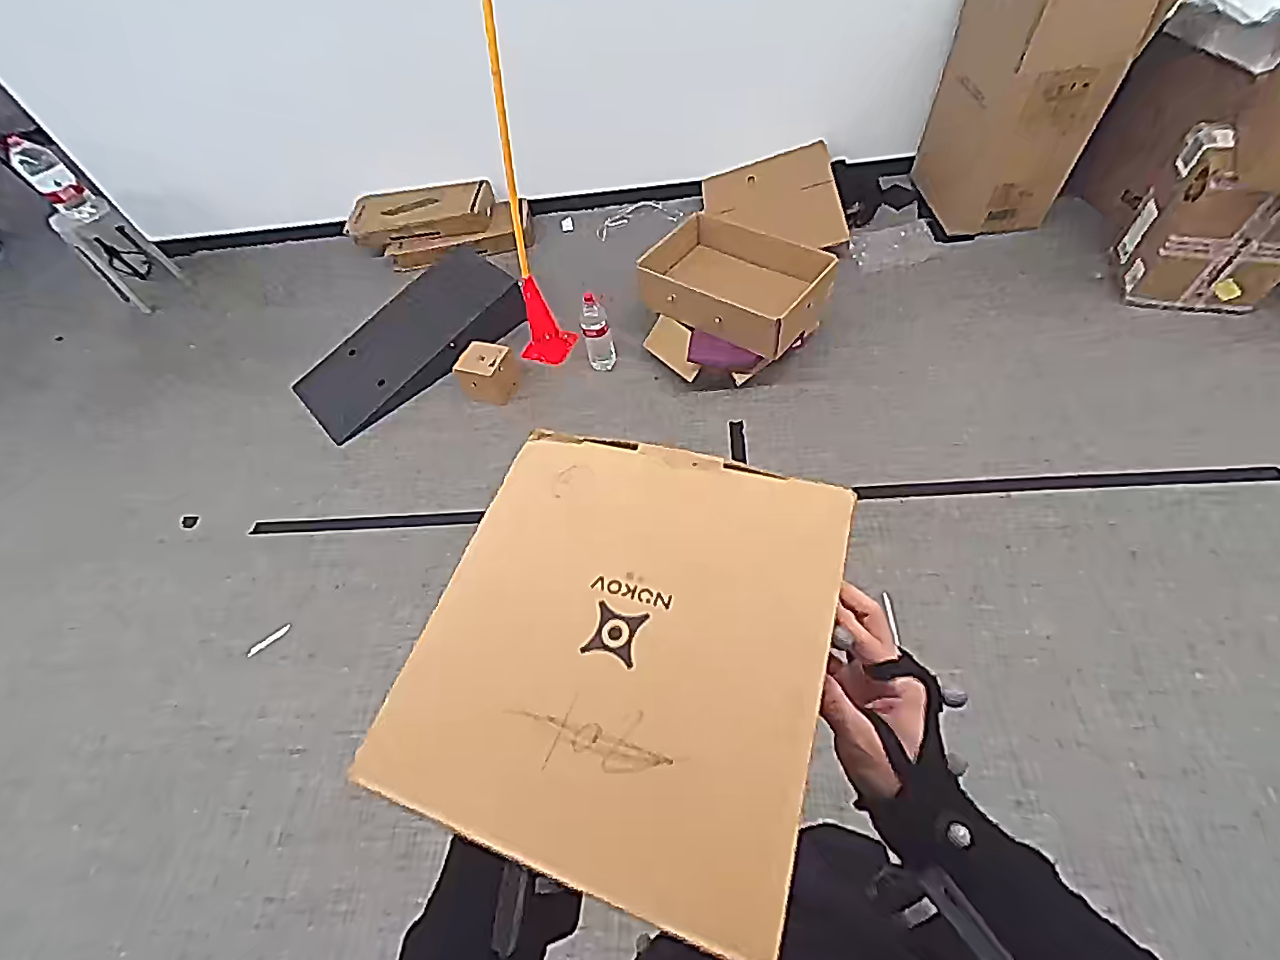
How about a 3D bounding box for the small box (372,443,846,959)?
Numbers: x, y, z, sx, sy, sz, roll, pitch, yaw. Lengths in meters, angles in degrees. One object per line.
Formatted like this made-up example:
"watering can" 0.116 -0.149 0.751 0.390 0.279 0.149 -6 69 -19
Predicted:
"small box" 0.005 0.108 0.301 0.168 0.176 0.179 12 61 18
